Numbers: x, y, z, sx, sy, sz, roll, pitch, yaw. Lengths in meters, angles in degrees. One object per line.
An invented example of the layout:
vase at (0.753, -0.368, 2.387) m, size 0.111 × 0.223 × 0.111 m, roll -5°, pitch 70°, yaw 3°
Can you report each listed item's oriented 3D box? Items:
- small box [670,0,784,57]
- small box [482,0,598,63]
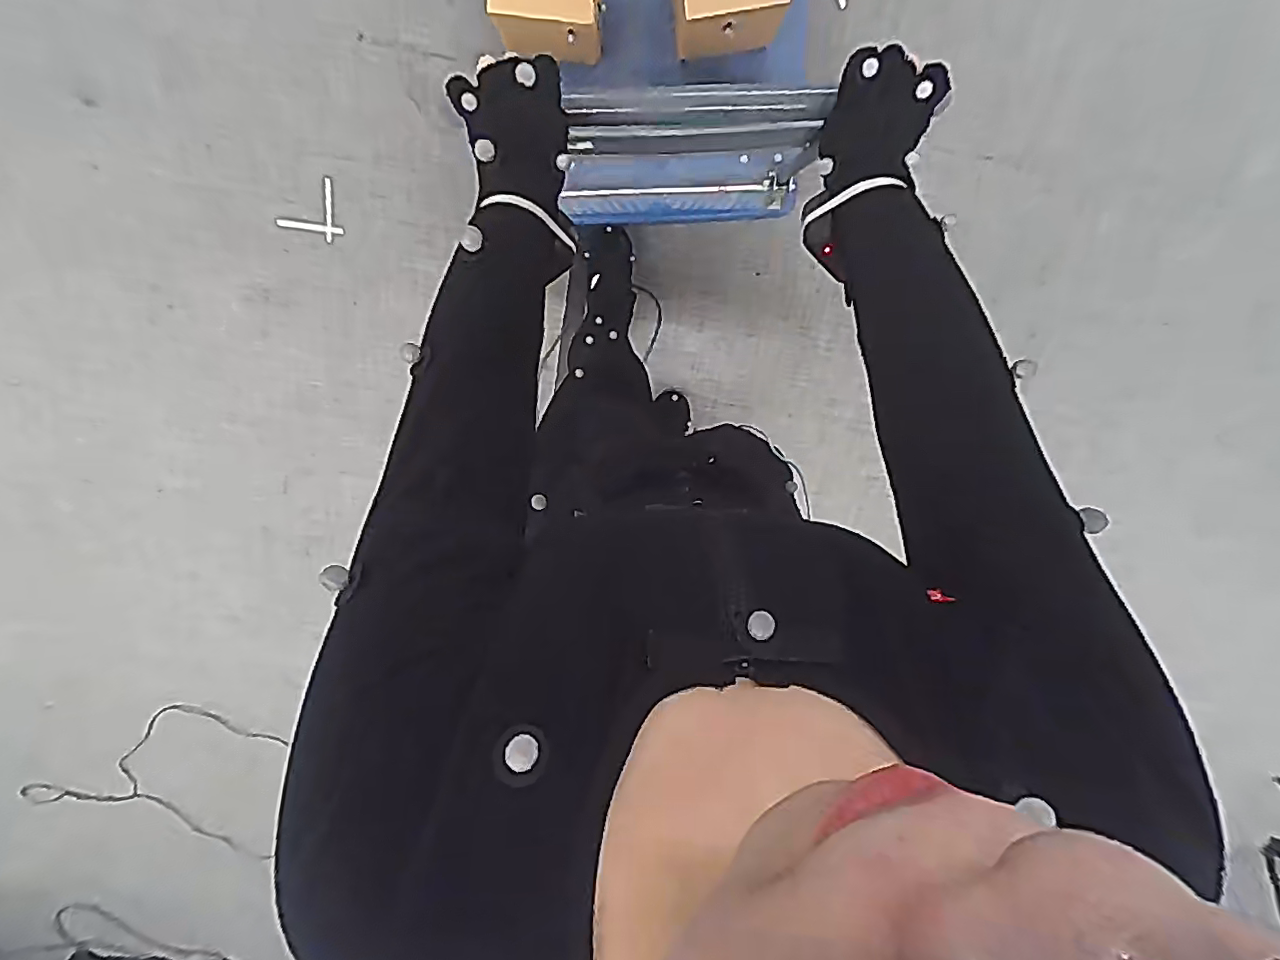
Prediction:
small box at (0.140, -0.862, 0.926) m, size 0.179 × 0.176 × 0.168 m, roll -8°, pitch 109°, yaw 2°
small box at (-0.164, -0.850, 0.926) m, size 0.179 × 0.176 × 0.168 m, roll 3°, pitch 109°, yaw -4°
